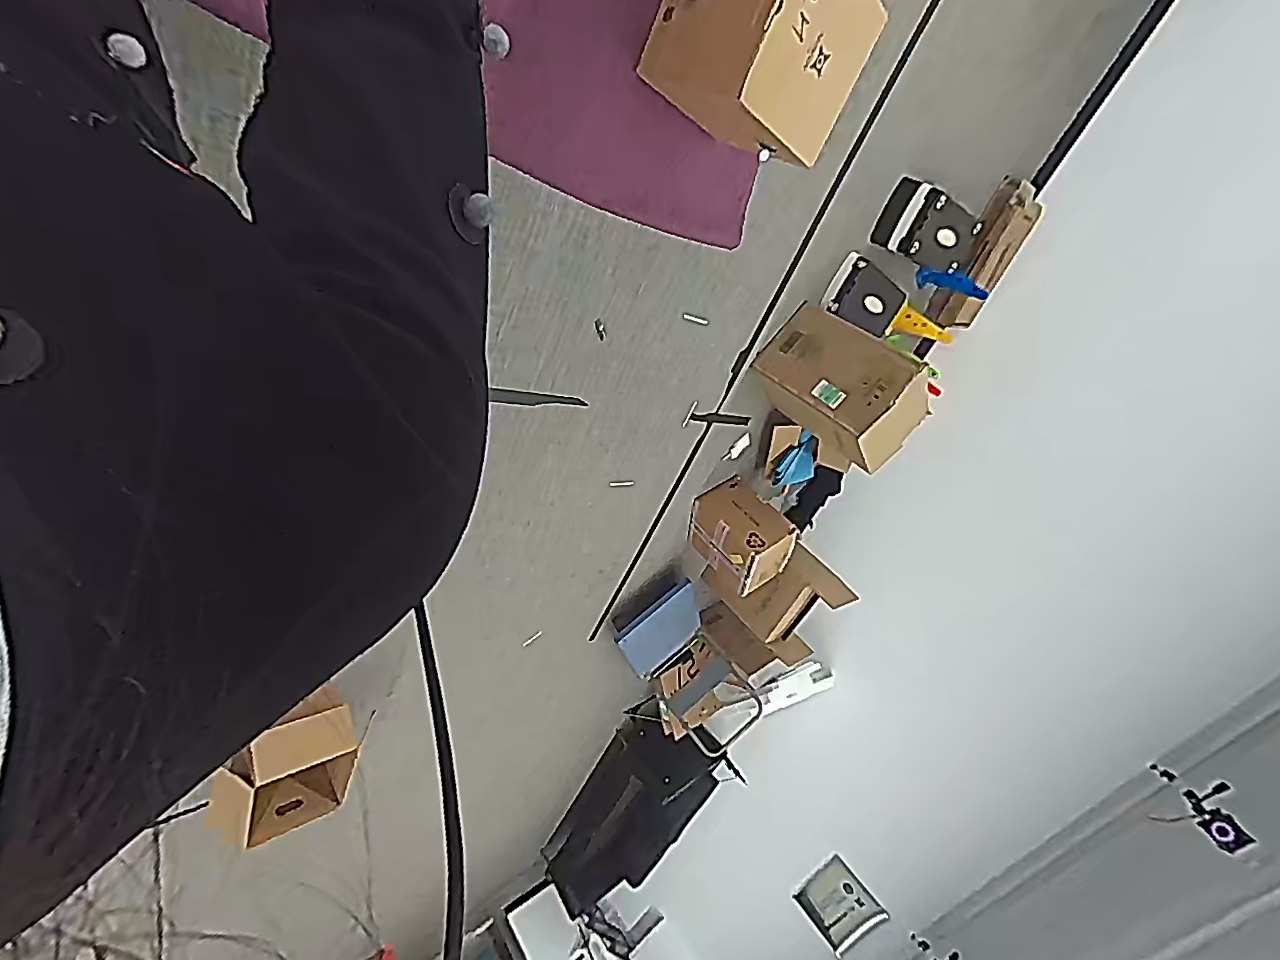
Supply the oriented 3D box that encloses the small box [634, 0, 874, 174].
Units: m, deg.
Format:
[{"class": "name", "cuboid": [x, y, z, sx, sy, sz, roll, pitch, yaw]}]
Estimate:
[{"class": "small box", "cuboid": [0.127, -0.494, 0.627, 0.179, 0.176, 0.168, -1, 124, -48]}]
